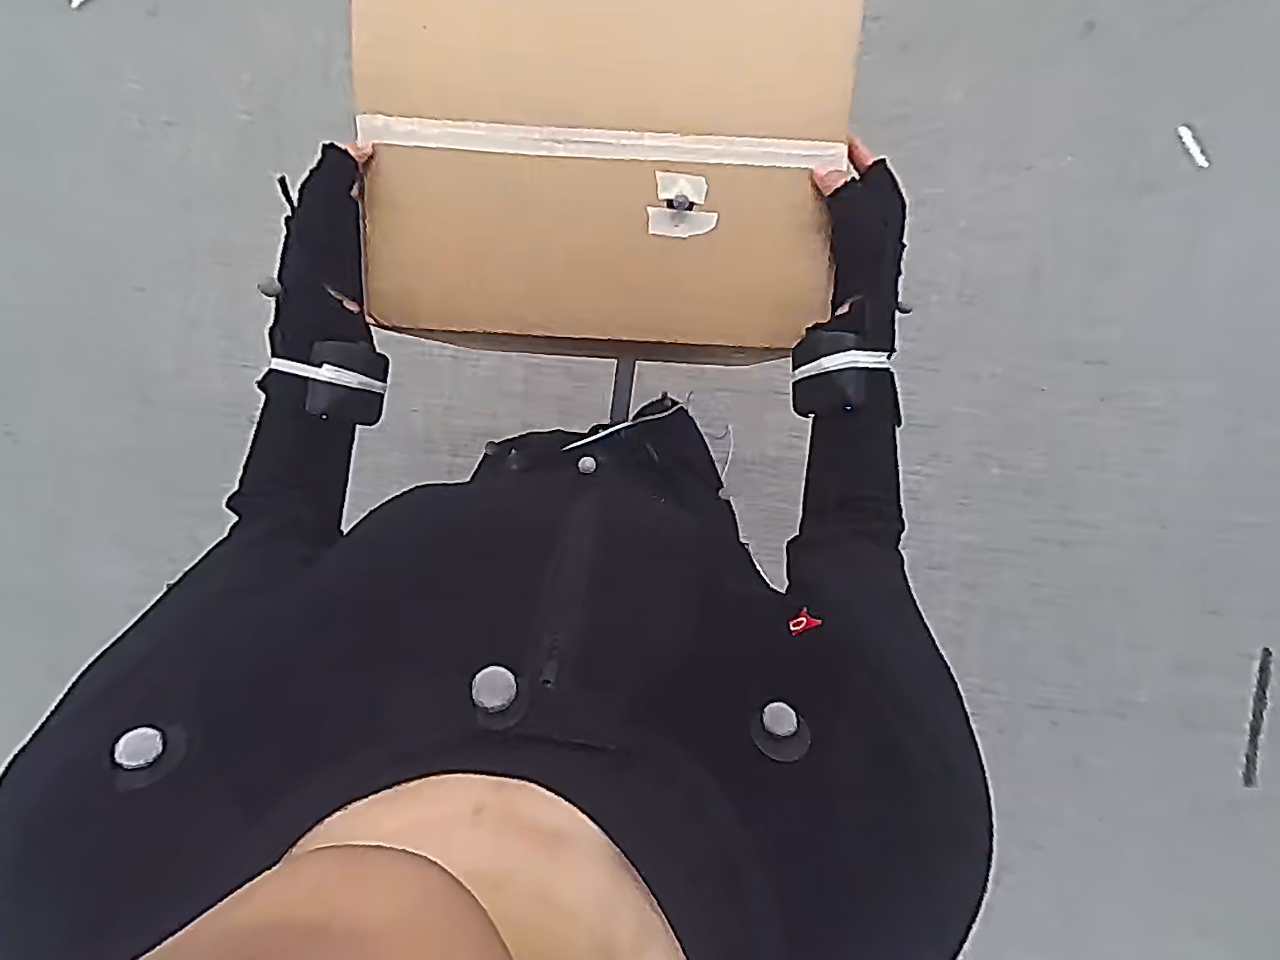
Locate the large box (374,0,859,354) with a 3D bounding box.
[{"bbox_3d":[-0.029,-0.316,0.607,0.408,0.320,0.320,3,101,-2],"label":"large box"}]
